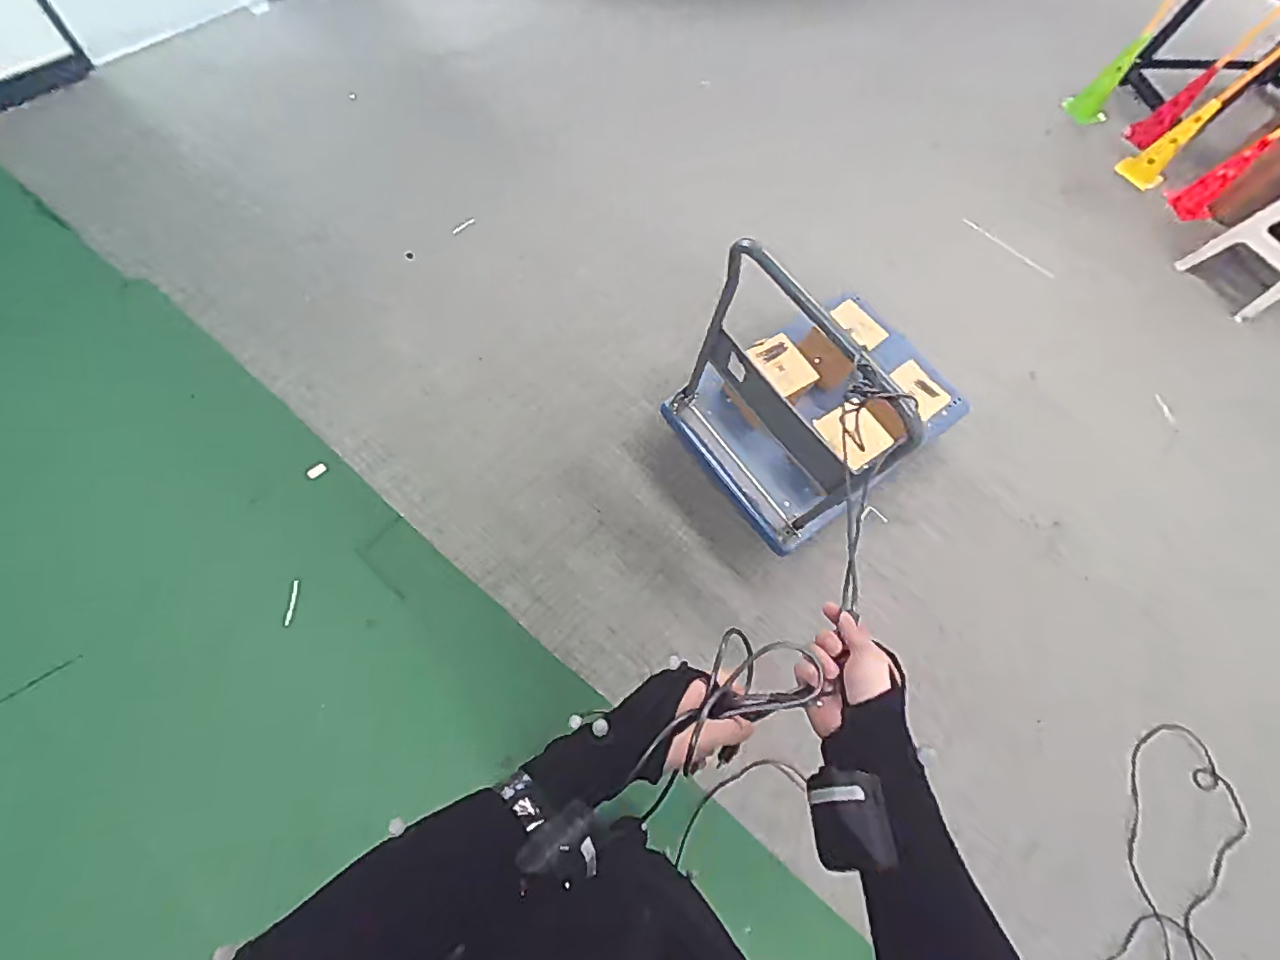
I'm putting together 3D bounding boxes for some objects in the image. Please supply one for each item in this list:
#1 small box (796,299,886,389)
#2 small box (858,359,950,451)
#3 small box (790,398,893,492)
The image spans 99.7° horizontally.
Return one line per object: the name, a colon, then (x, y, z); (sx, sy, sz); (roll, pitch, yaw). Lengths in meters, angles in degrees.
small box: (0.605, -0.412, 1.661); (0.179, 0.176, 0.168); (-37, 77, -20)
small box: (0.758, -0.218, 1.599); (0.179, 0.176, 0.168); (-35, 75, -19)
small box: (0.558, -0.094, 1.522); (0.179, 0.176, 0.168); (-31, 75, -18)
